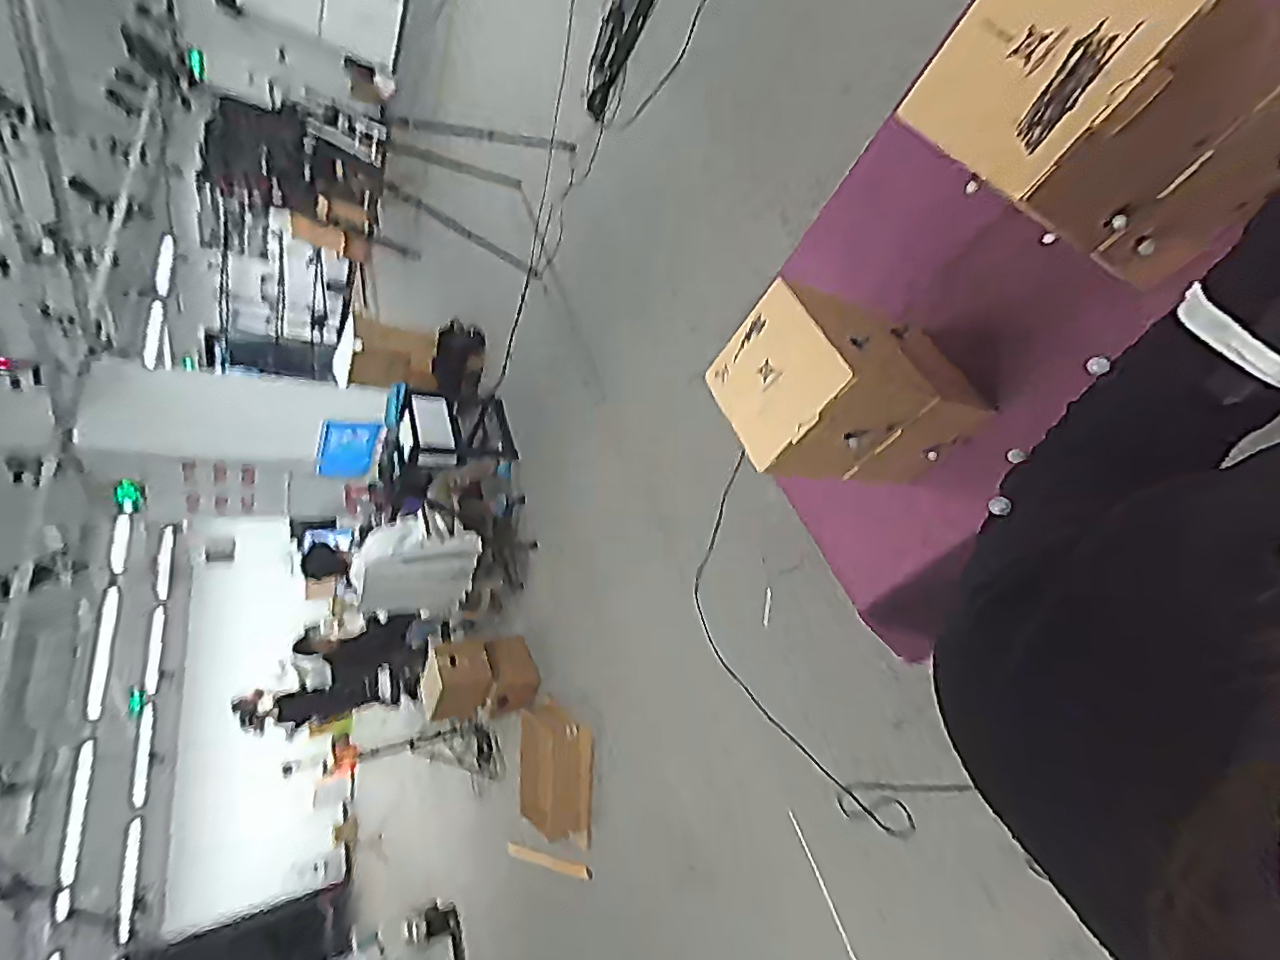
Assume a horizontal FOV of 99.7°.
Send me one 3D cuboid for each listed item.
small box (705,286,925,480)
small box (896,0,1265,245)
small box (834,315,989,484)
[{"bbox_3d":[0.222,-0.115,0.697,0.168,0.176,0.179,-52,49,38],"label":"small box"},{"bbox_3d":[0.384,-0.338,0.486,0.168,0.176,0.179,-54,46,38],"label":"small box"},{"bbox_3d":[0.357,-0.107,0.792,0.168,0.176,0.179,-53,48,39],"label":"small box"}]
